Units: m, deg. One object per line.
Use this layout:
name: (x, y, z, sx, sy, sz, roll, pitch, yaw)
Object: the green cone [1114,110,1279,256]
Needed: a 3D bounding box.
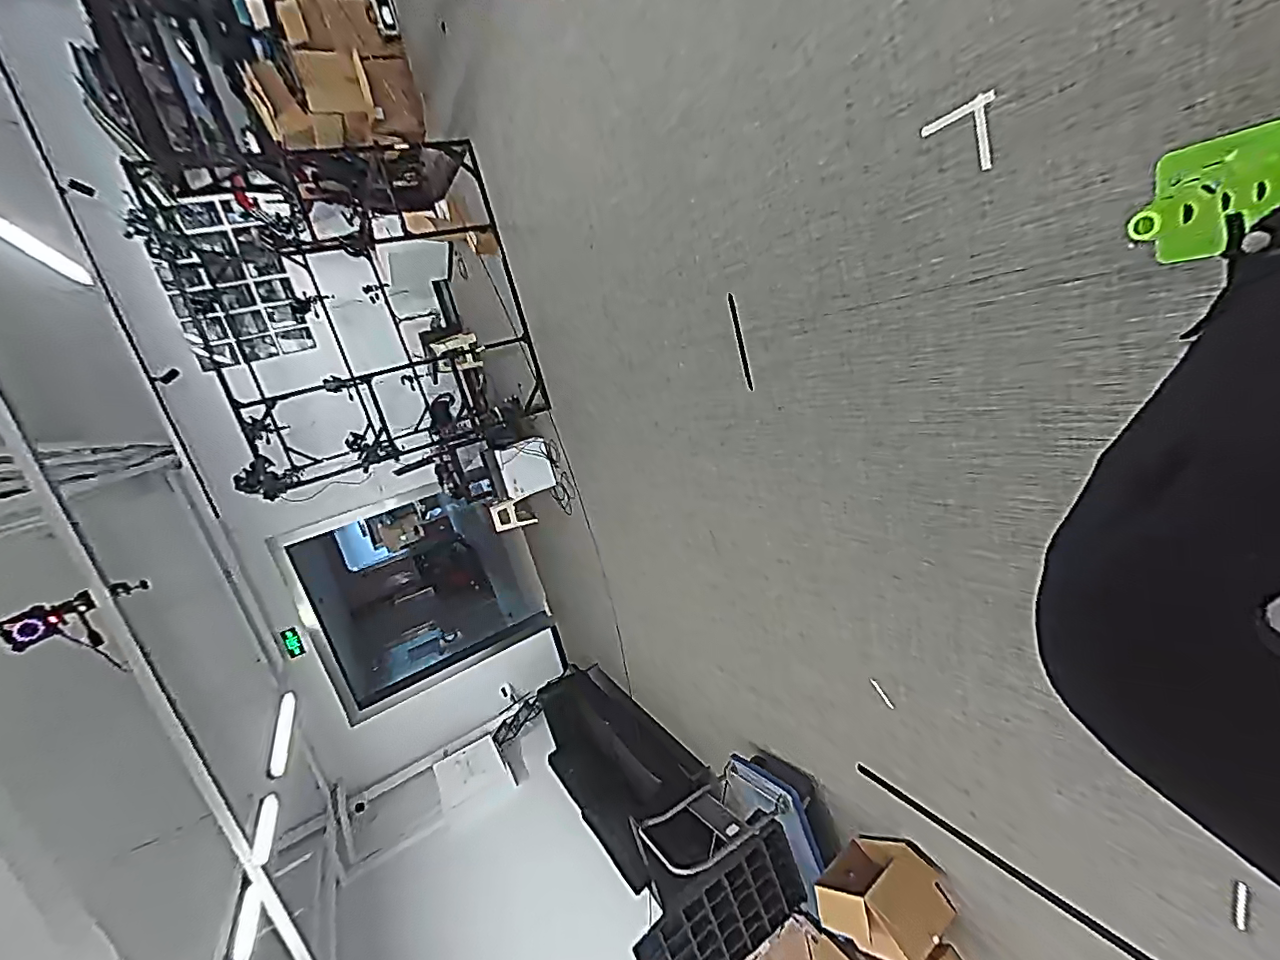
green cone: (0.892, -0.457, 0.882, 0.202, 0.368, 0.200, 14, 123, 61)
